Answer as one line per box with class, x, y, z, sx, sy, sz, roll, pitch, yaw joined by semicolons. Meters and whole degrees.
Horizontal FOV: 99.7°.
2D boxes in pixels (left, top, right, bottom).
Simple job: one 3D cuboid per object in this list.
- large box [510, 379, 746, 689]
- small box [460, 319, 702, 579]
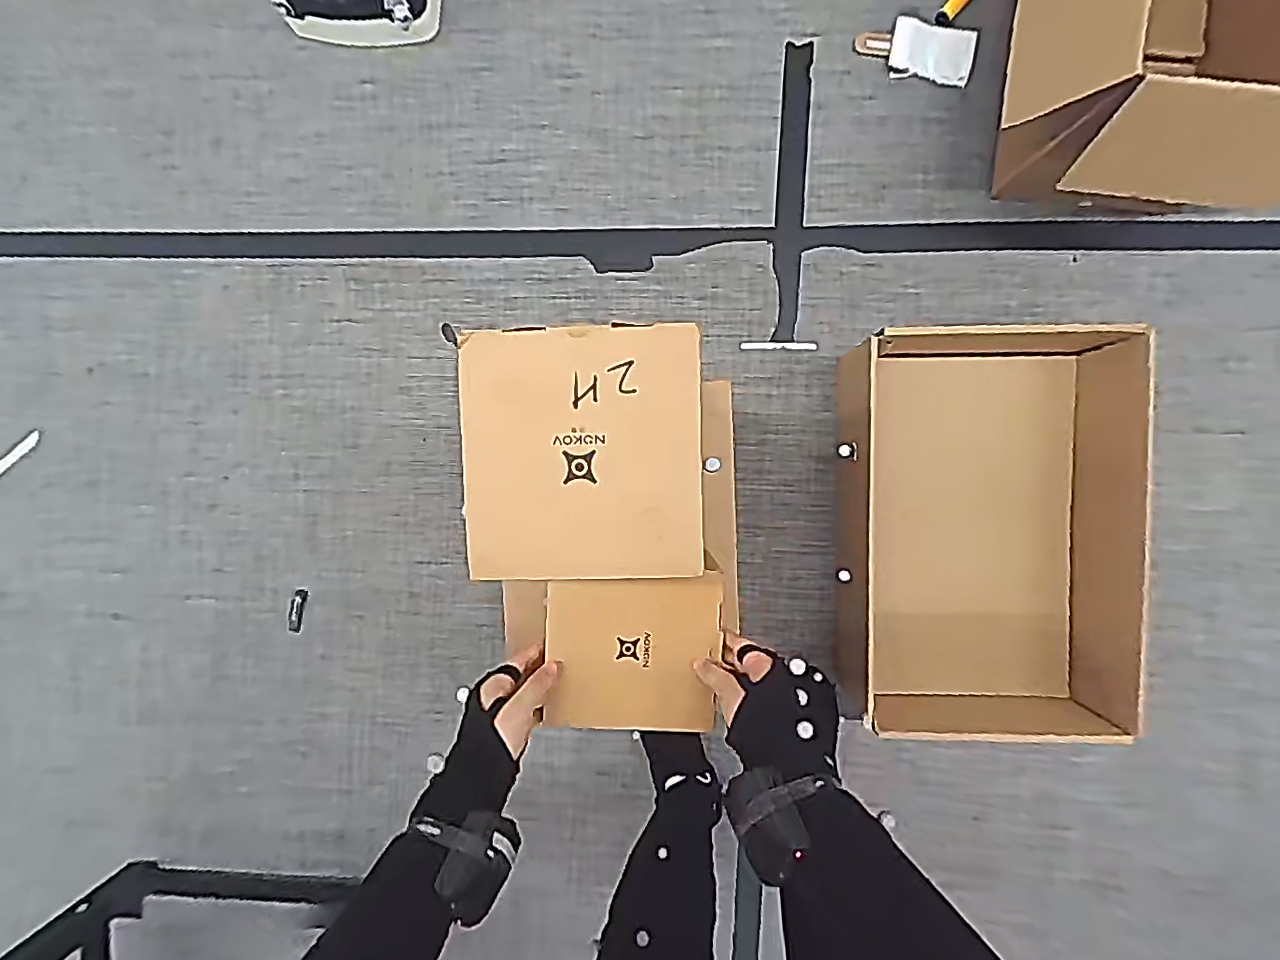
large box;-0.016;0.068;0.859;0.320;0.320;0.408;-2;93;4
small box;-0.035;-0.025;0.446;0.168;0.176;0.179;-1;93;2
